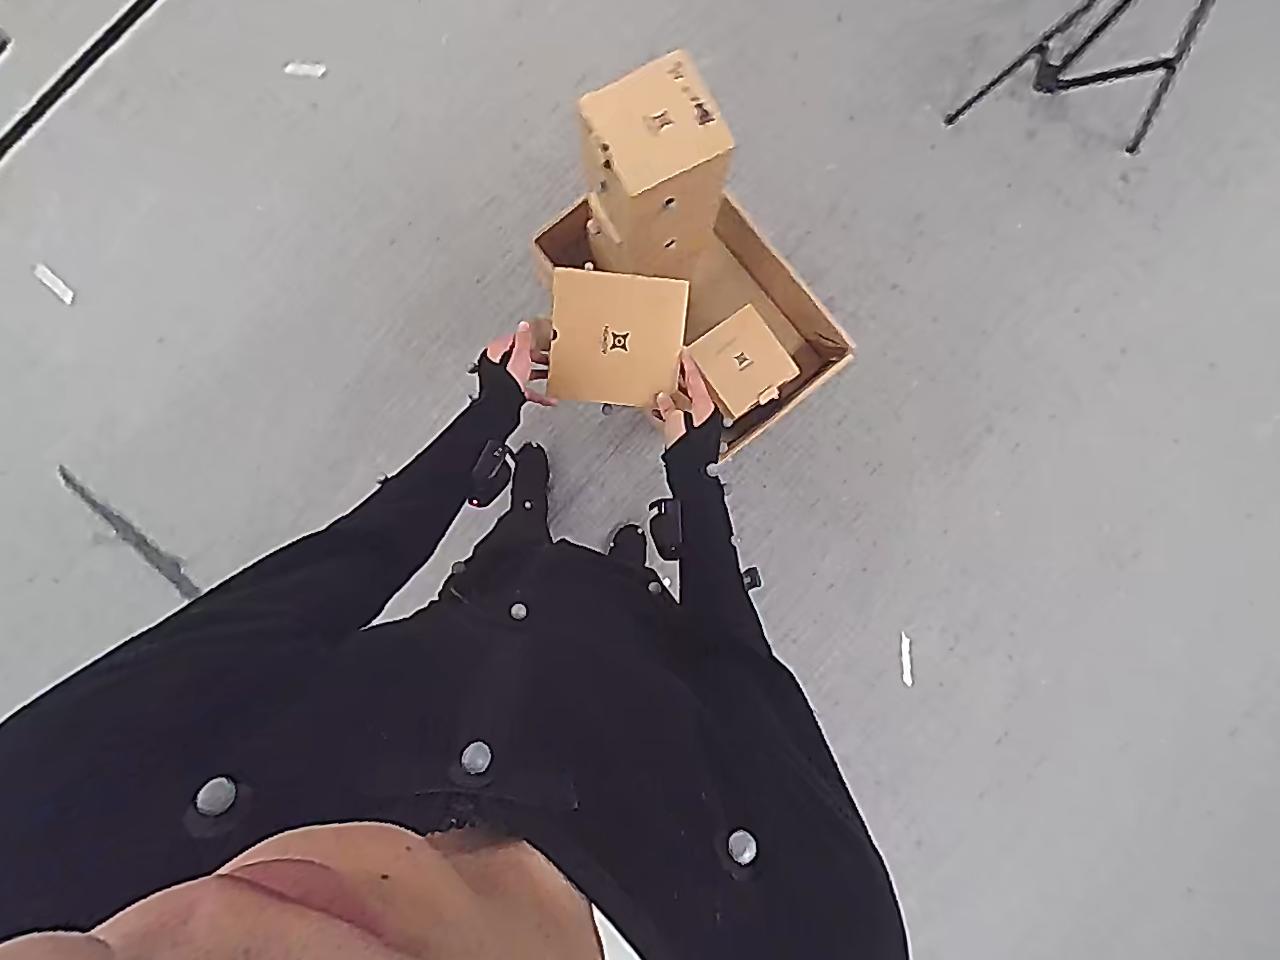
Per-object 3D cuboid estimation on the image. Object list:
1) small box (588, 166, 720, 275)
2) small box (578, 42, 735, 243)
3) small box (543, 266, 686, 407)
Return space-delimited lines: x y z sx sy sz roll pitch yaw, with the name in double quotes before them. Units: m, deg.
"small box" 0.024 -0.503 1.003 0.179 0.176 0.168 -31 88 -3
"small box" 0.023 -0.505 0.838 0.179 0.176 0.168 -27 89 -2
"small box" -0.031 -0.199 0.775 0.179 0.176 0.168 6 101 3
